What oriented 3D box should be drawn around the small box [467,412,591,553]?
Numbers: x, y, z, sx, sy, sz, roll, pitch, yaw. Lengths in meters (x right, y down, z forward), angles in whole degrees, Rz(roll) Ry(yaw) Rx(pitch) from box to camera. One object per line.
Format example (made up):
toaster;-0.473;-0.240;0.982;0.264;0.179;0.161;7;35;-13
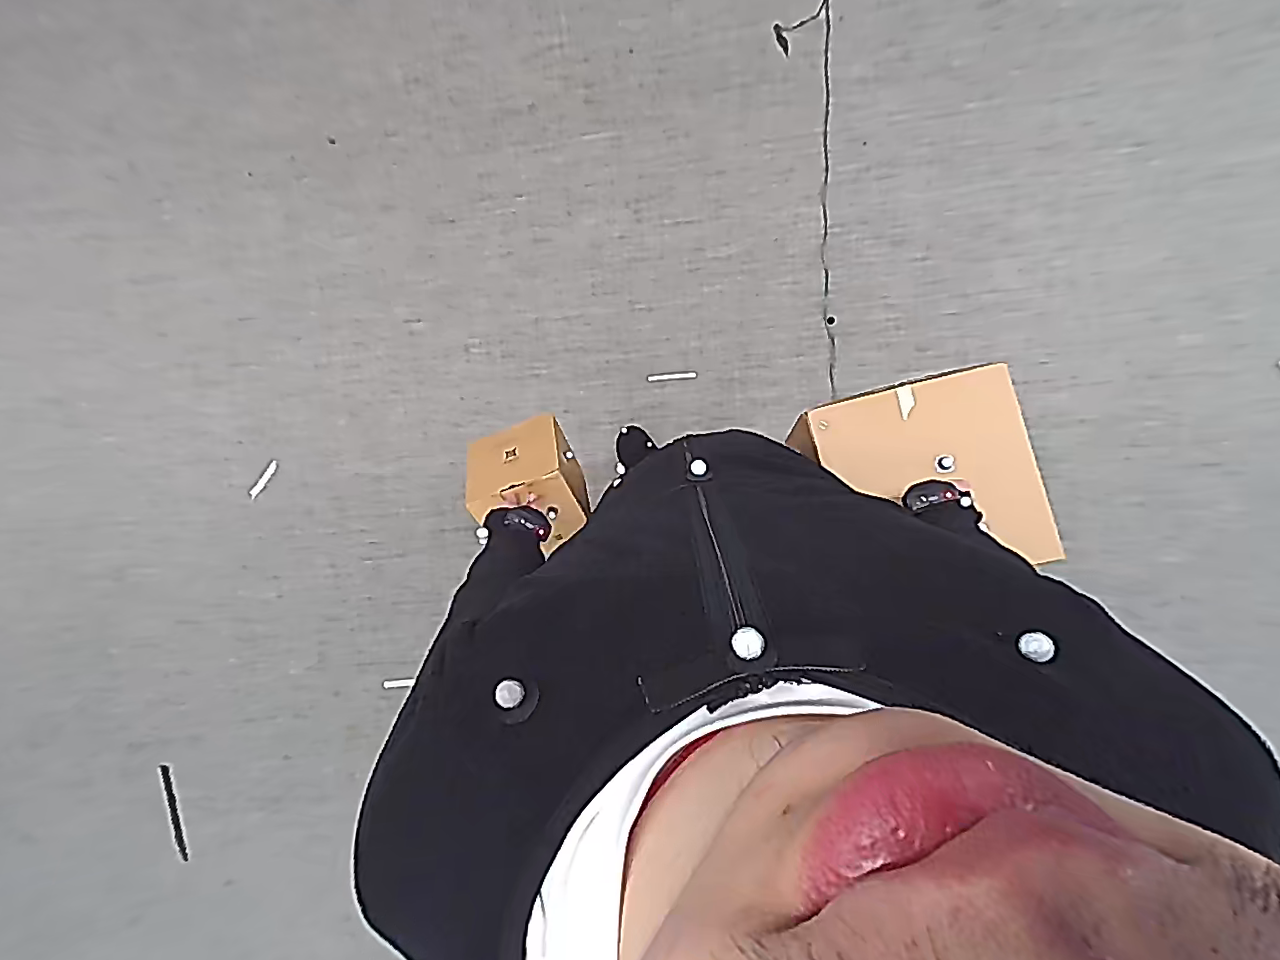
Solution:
small box;-0.198;0.012;0.988;0.168;0.179;0.176;-19;131;3
